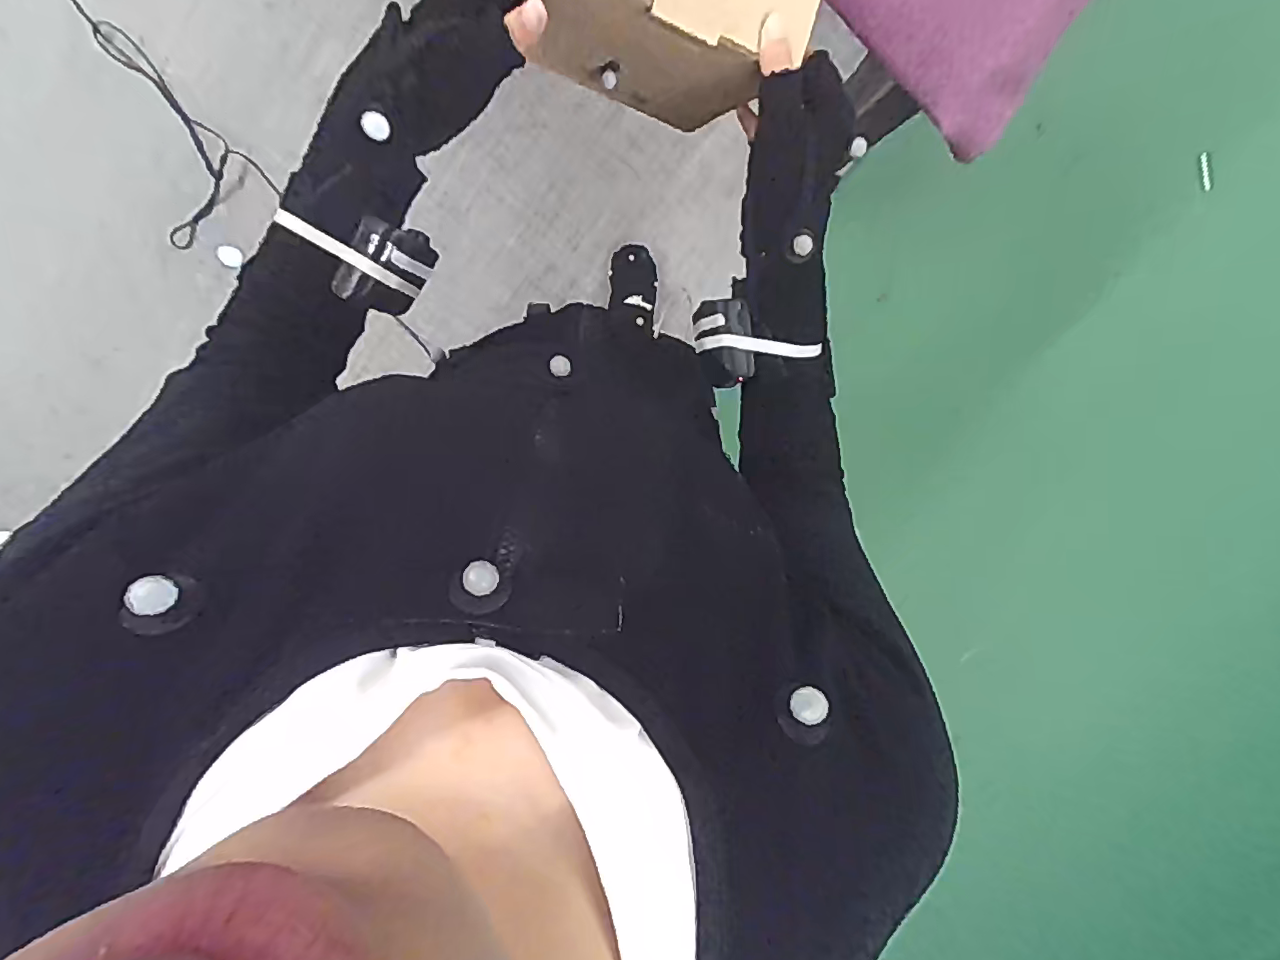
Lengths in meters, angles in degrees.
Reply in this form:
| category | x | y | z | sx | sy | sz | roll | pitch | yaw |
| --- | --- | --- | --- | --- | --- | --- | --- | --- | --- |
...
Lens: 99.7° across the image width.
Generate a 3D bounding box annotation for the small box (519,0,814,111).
| category | x | y | z | sx | sy | sz | roll | pitch | yaw |
| --- | --- | --- | --- | --- | --- | --- | --- | --- | --- |
| small box | 0.022 | -0.392 | 0.367 | 0.168 | 0.176 | 0.179 | 8 | 109 | -24 |
